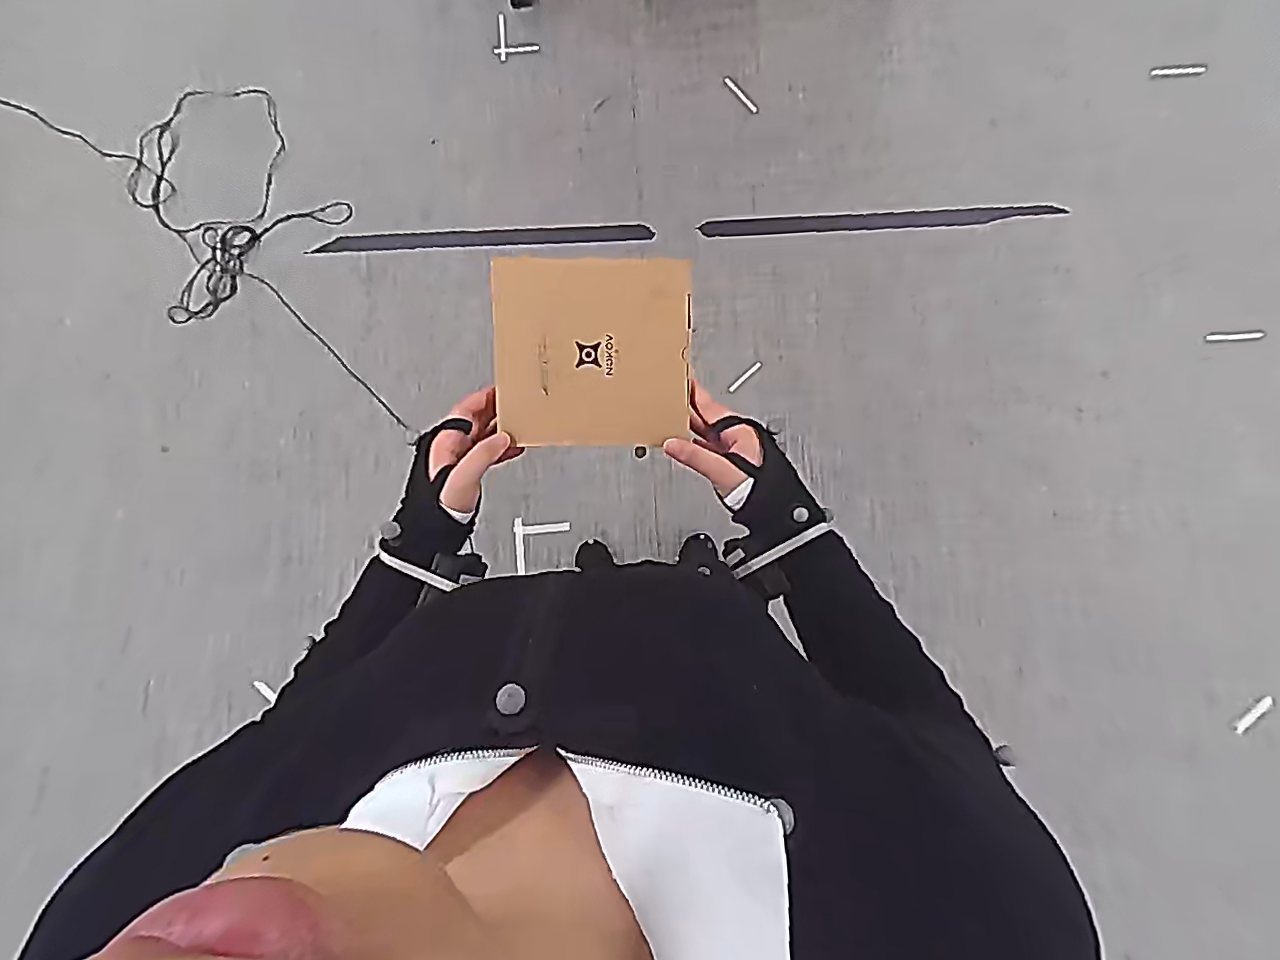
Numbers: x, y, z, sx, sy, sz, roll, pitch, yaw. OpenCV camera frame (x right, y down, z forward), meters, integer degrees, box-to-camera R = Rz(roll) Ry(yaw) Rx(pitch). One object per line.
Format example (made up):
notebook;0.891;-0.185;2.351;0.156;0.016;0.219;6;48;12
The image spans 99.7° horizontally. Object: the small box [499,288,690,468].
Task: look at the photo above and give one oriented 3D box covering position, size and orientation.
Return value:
small box;-0.042;-0.102;0.578;0.179;0.176;0.168;-1;95;0
